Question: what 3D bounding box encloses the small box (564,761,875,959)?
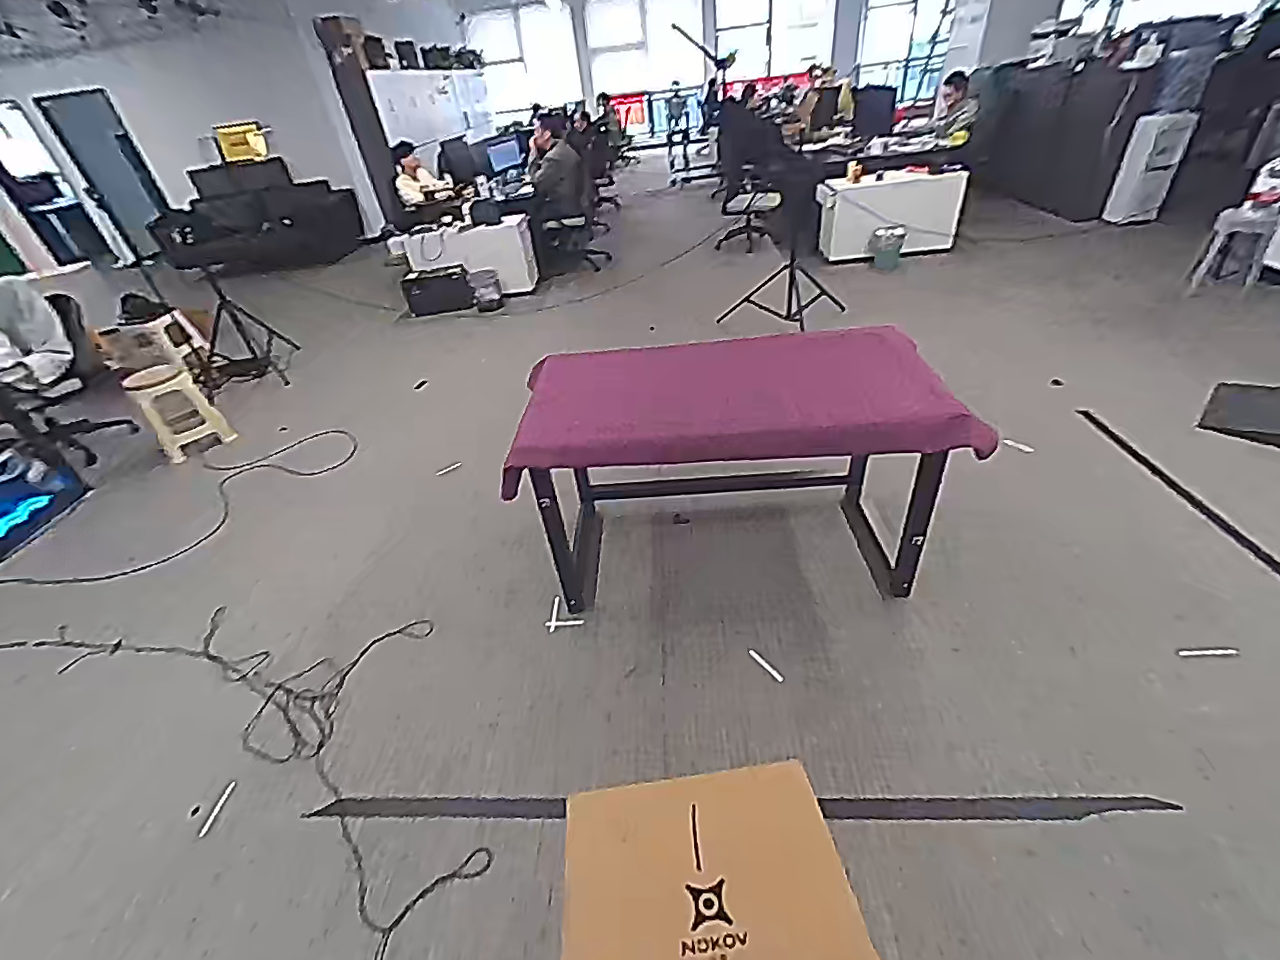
[{"bbox_3d":[0.048,0.316,0.335,0.168,0.176,0.179,-8,25,-1],"label":"small box"}]
